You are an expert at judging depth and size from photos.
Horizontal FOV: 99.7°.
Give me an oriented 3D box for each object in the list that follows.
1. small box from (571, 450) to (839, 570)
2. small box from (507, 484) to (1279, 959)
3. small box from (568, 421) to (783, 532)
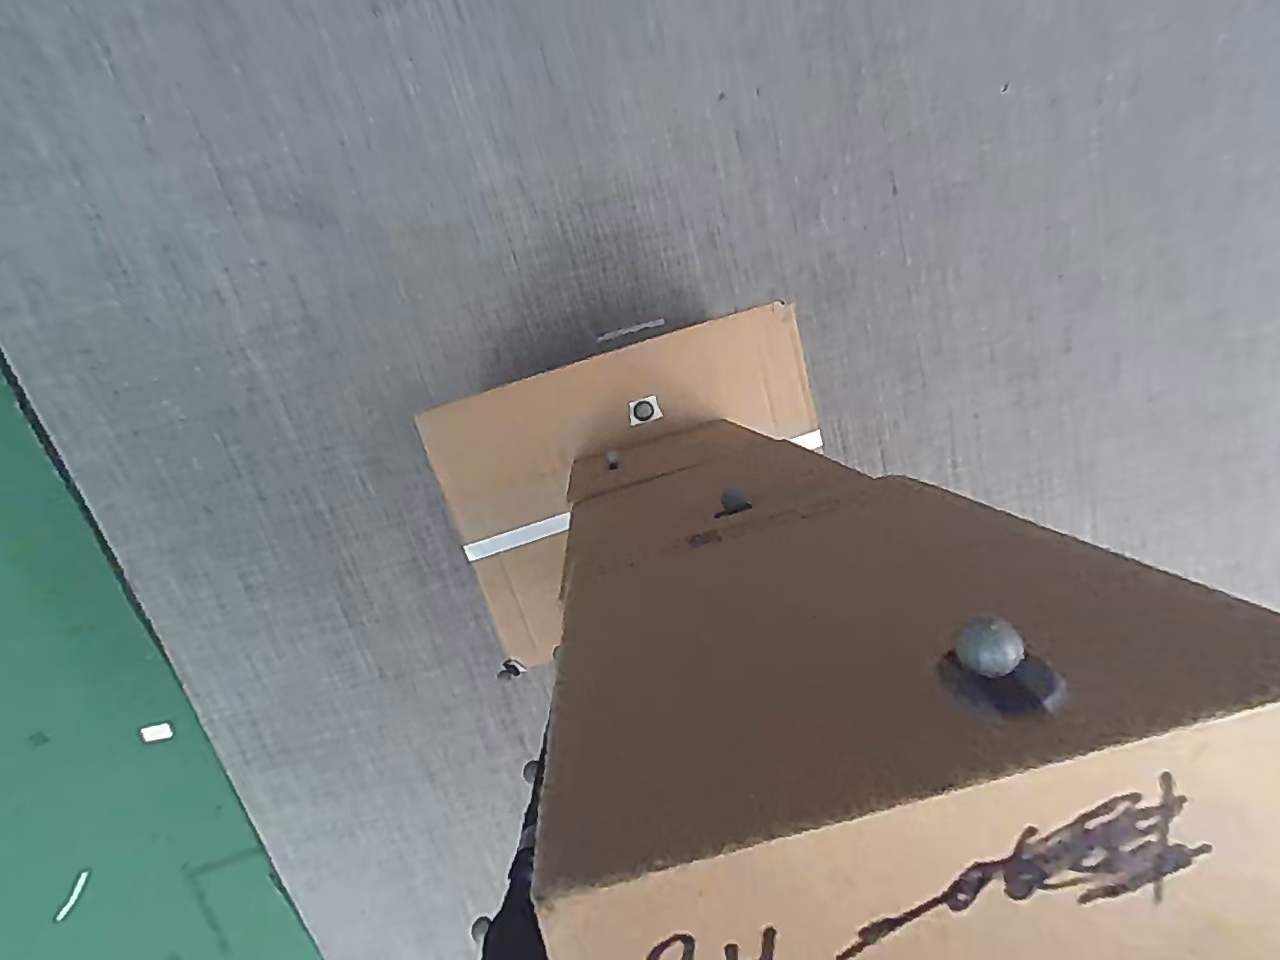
[{"bbox_3d":[0.059,0.091,0.359,0.179,0.176,0.168,-20,104,-1],"label":"small box"},{"bbox_3d":[0.068,0.118,0.198,0.168,0.176,0.179,-14,105,-1],"label":"small box"},{"bbox_3d":[0.039,0.051,0.517,0.179,0.176,0.168,-16,105,-3],"label":"small box"}]
